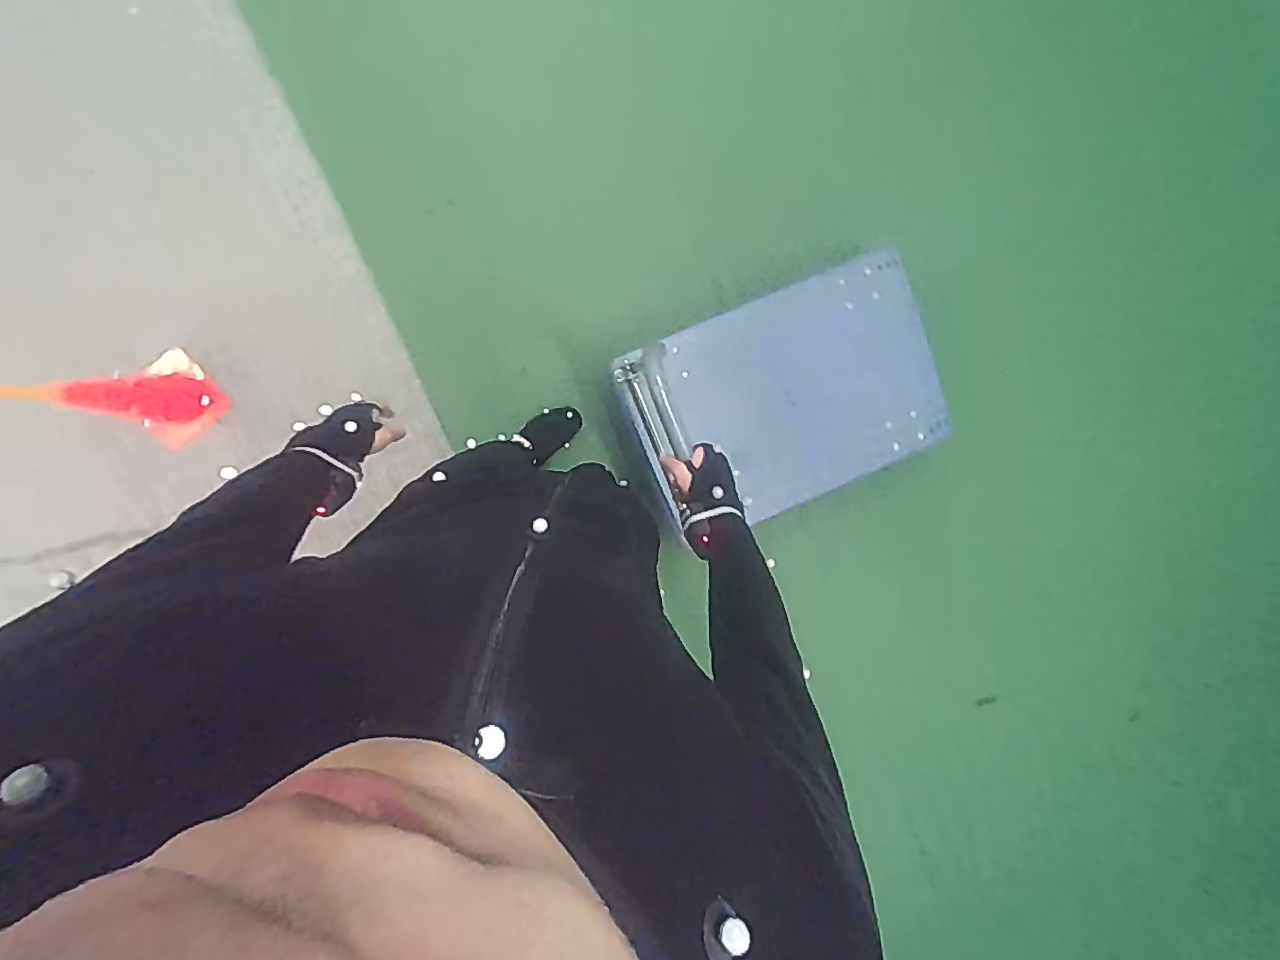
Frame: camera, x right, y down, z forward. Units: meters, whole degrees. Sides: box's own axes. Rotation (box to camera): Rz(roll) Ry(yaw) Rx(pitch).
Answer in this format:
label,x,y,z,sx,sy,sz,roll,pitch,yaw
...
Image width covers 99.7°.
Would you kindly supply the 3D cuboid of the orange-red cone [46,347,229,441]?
label,x,y,z,sx,sy,sz,roll,pitch,yaw
orange-red cone,-1.228,-0.213,1.289,0.198,0.360,0.199,-38,98,-2
